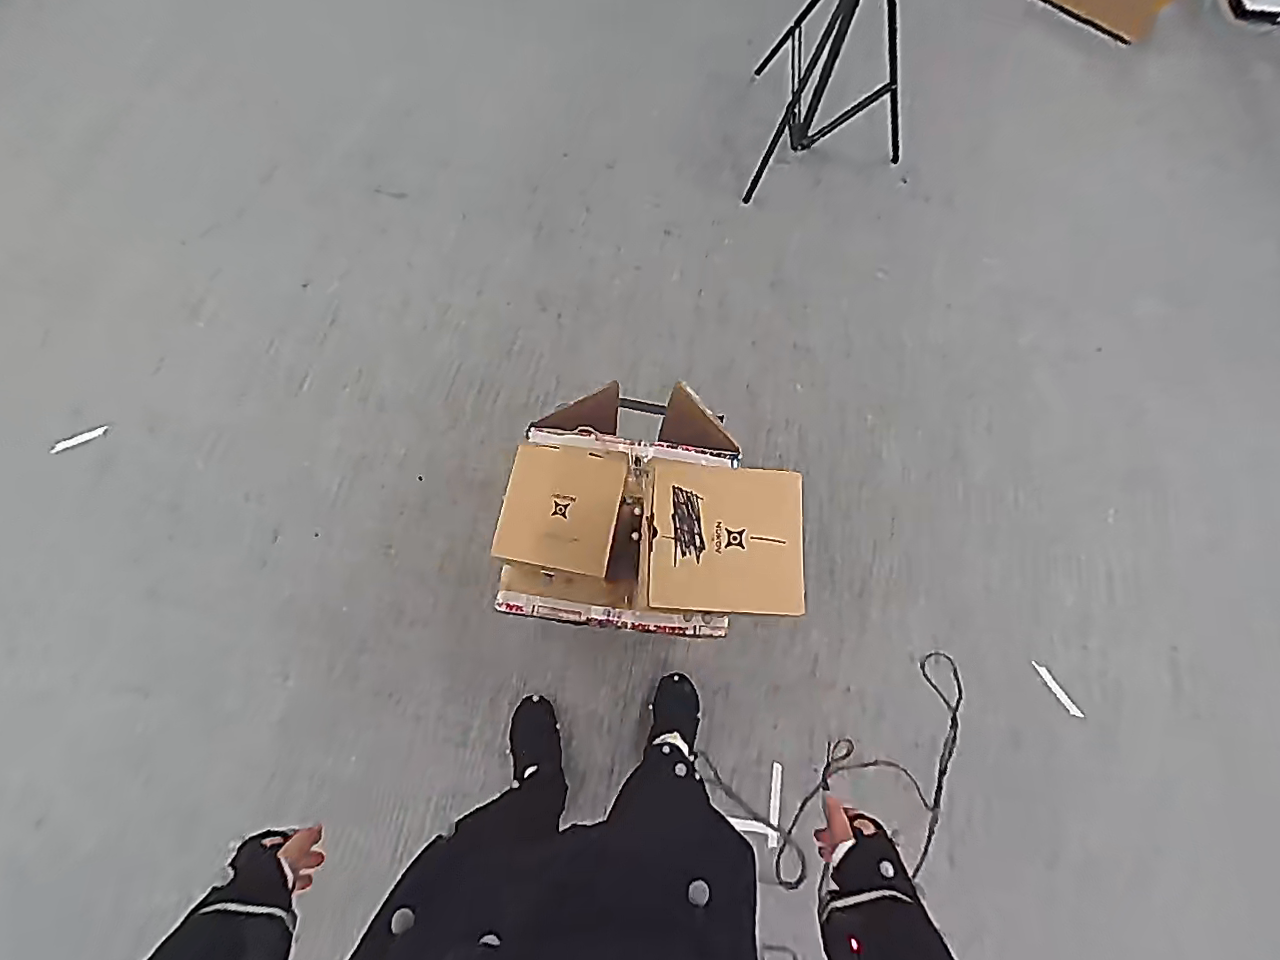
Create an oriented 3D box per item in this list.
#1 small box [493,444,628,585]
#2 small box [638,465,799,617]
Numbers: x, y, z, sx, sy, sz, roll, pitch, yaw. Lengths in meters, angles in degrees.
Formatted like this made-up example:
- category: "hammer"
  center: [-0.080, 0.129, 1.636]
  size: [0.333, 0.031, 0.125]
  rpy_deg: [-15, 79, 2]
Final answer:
- category: "small box"
  center: [-0.116, 0.063, 0.860]
  size: [0.168, 0.176, 0.179]
  rpy_deg: [10, 76, 1]
- category: "small box"
  center: [0.091, 0.086, 0.695]
  size: [0.179, 0.176, 0.168]
  rpy_deg: [4, 76, -3]
